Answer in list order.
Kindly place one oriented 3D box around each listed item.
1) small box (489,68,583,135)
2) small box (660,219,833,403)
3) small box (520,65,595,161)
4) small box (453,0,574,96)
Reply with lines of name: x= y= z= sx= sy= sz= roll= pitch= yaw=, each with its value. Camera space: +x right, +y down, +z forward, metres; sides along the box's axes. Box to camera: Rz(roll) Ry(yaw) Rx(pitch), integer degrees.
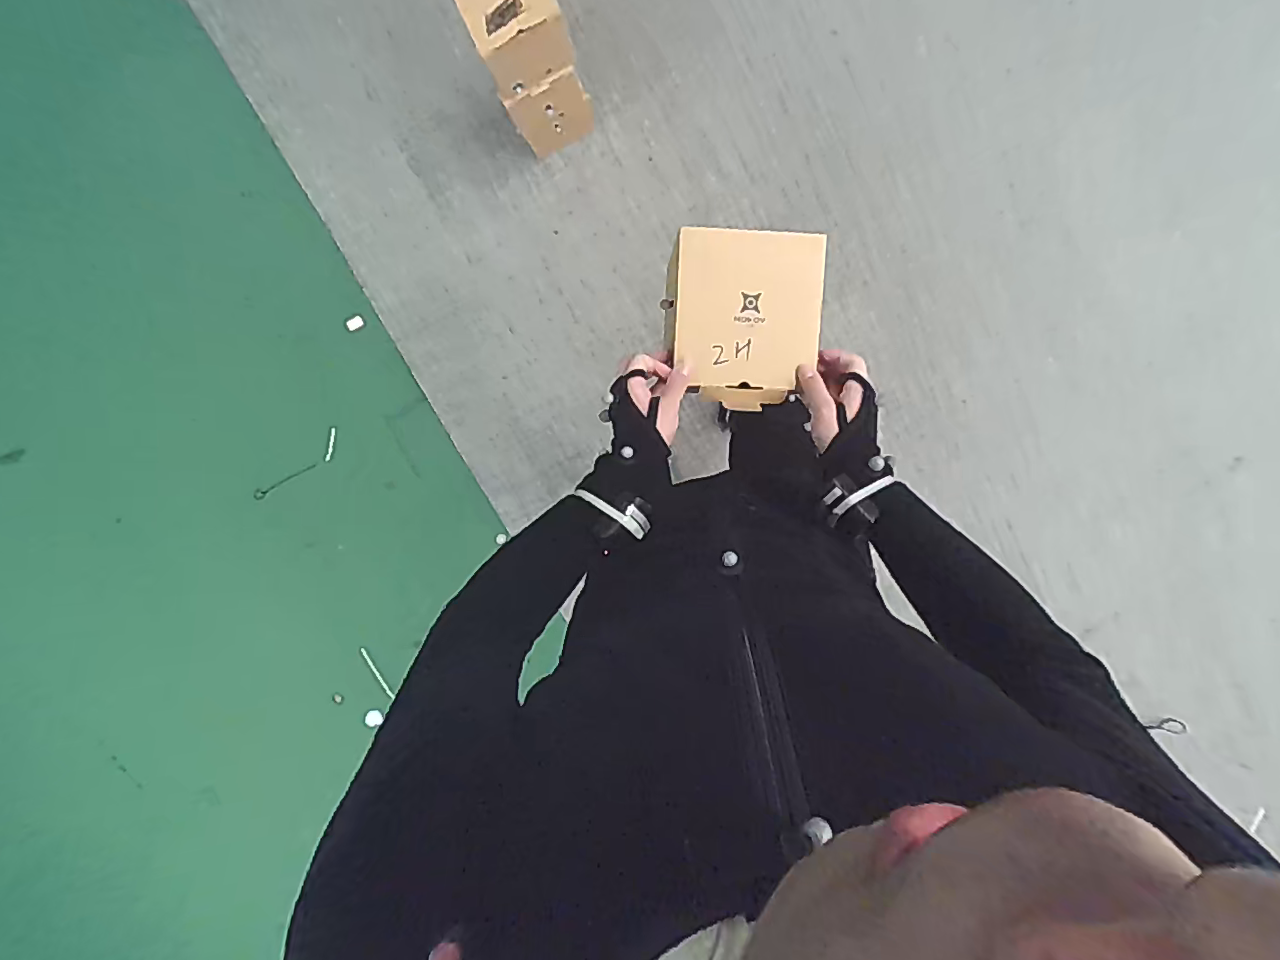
small box: x=-0.238 y=-0.895 z=1.187 sx=0.168 sy=0.176 sz=0.179 roll=-23 pitch=101 yaw=7
small box: x=0.119 y=-0.197 z=0.680 sx=0.168 sy=0.176 sz=0.179 roll=9 pitch=97 yaw=-1
small box: x=-0.227 y=-0.934 z=1.345 sx=0.179 sy=0.176 sz=0.168 roll=-22 pitch=100 yaw=7
small box: x=-0.240 y=-0.872 z=1.023 sx=0.168 sy=0.176 sz=0.179 roll=-24 pitch=99 yaw=7
